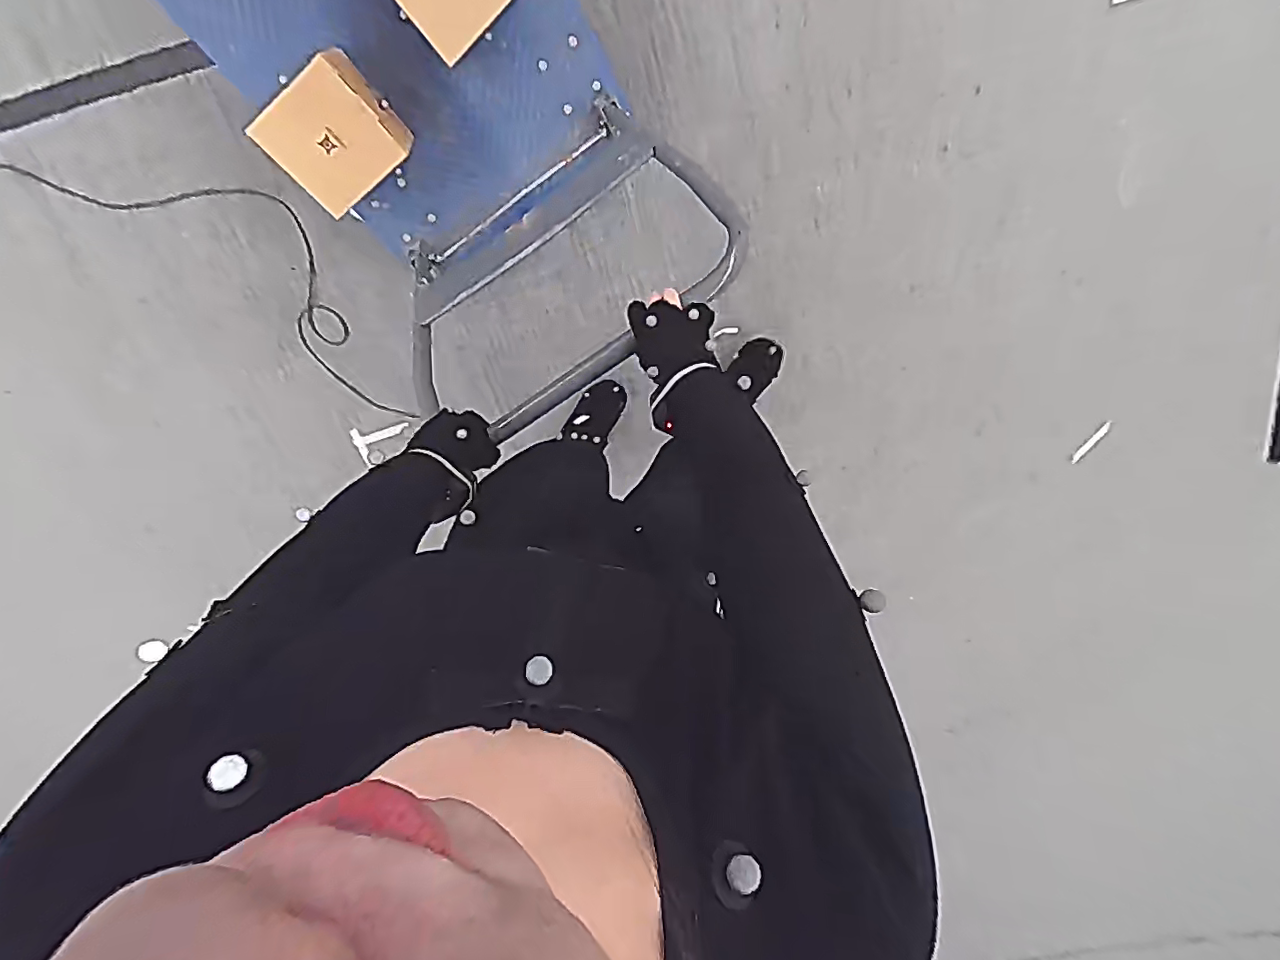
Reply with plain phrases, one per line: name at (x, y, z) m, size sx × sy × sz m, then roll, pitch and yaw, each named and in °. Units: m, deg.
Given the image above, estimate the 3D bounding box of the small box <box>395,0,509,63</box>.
small box at (-0.300, -0.795, 0.839) m, size 0.179 × 0.176 × 0.168 m, roll -37°, pitch 131°, yaw 15°

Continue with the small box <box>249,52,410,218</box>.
small box at (-0.521, -0.598, 0.938) m, size 0.179 × 0.176 × 0.168 m, roll -36°, pitch 131°, yaw 11°
